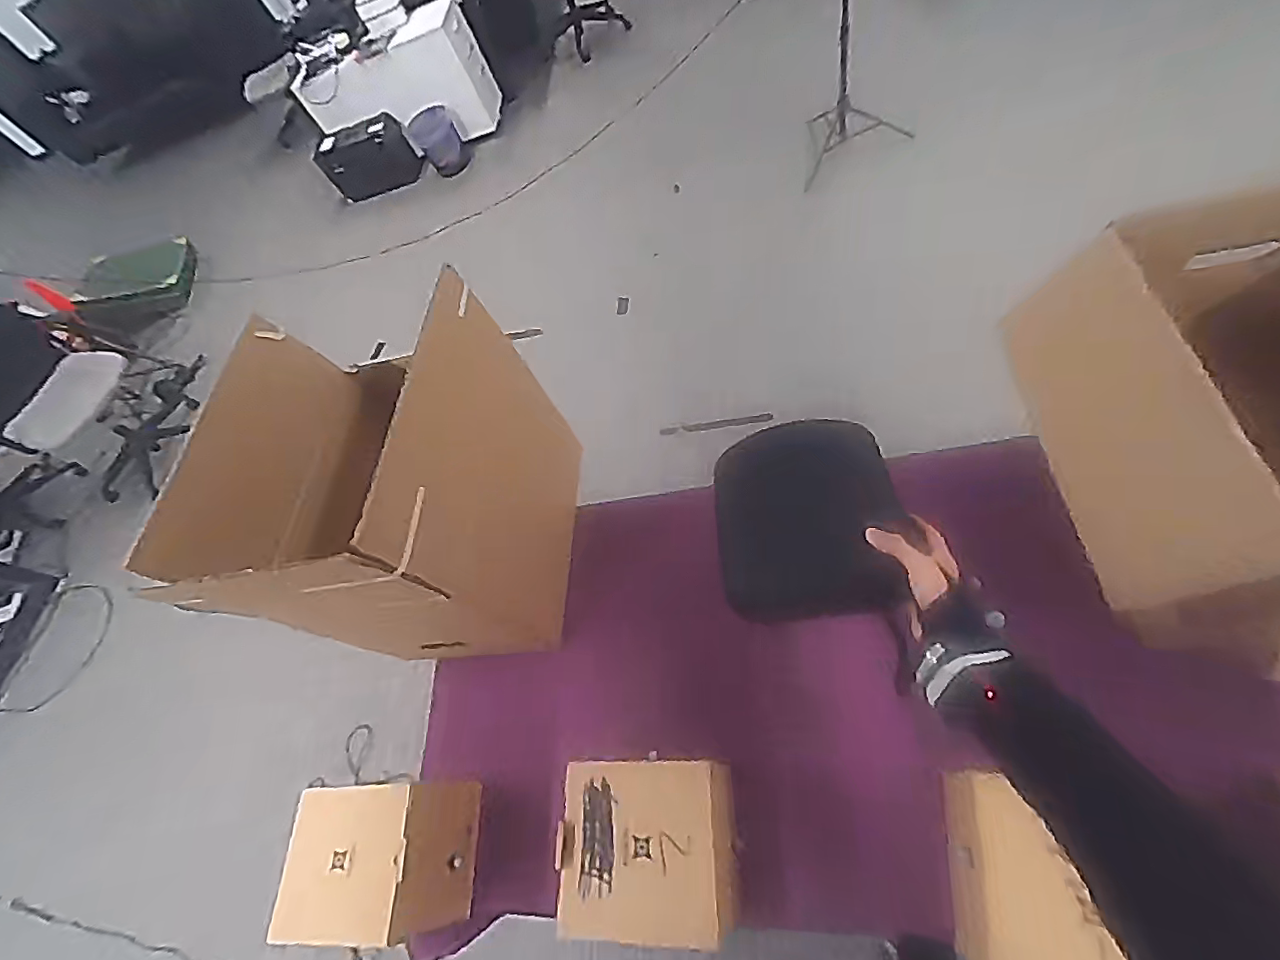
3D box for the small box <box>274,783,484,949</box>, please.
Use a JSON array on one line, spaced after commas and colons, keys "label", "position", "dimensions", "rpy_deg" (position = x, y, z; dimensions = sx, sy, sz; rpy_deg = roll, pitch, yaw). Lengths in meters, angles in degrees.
[{"label": "small box", "position": [-0.340, 0.515, 0.739], "dimensions": [0.179, 0.176, 0.168], "rpy_deg": [-10, 59, 13]}]
